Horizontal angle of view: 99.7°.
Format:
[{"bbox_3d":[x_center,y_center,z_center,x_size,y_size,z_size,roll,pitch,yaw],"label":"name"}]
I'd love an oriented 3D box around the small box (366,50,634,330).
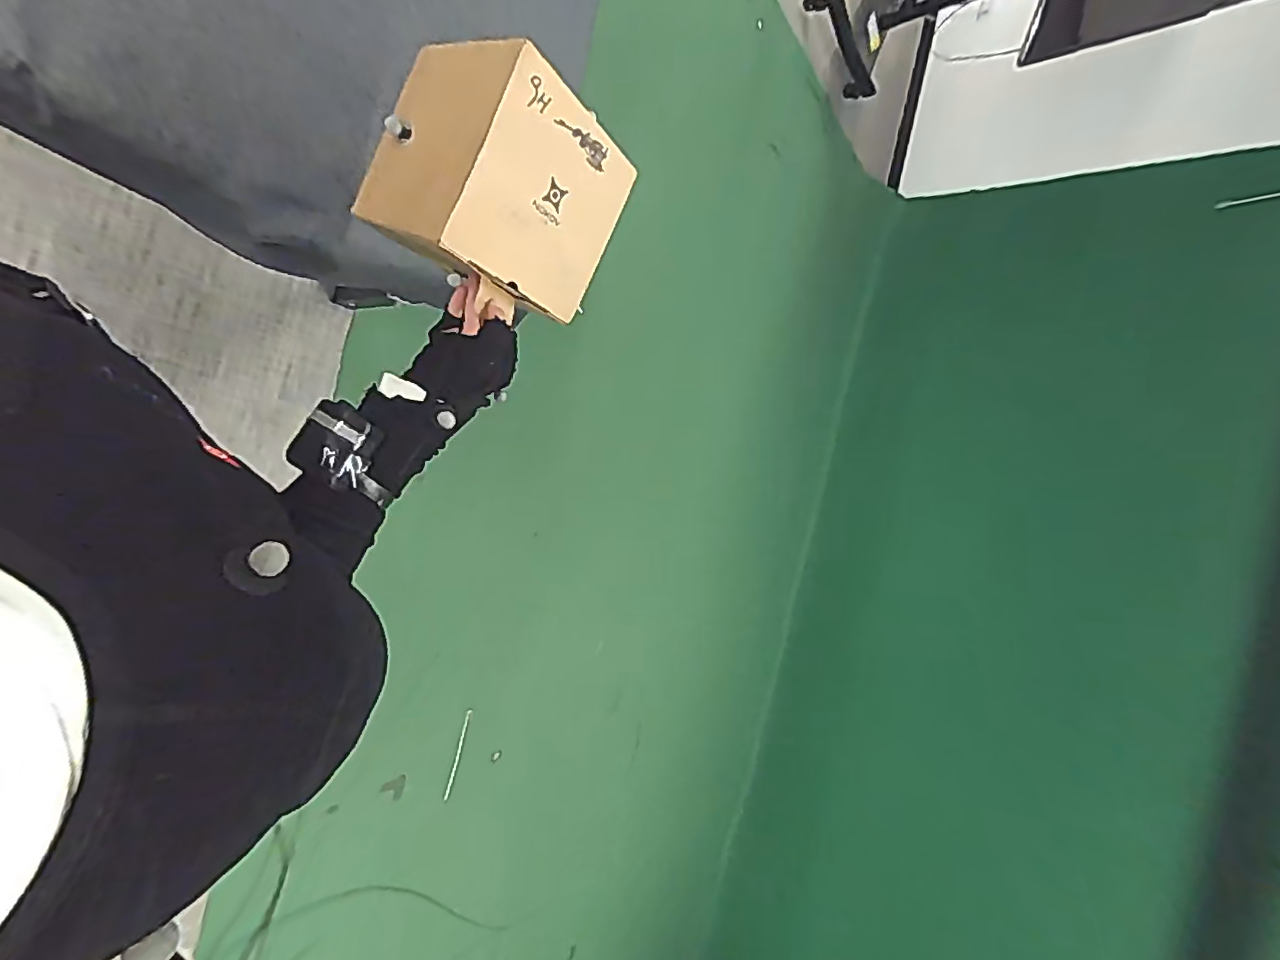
[{"bbox_3d":[-0.144,-0.284,0.545,0.168,0.176,0.179,18,101,-57],"label":"small box"}]
